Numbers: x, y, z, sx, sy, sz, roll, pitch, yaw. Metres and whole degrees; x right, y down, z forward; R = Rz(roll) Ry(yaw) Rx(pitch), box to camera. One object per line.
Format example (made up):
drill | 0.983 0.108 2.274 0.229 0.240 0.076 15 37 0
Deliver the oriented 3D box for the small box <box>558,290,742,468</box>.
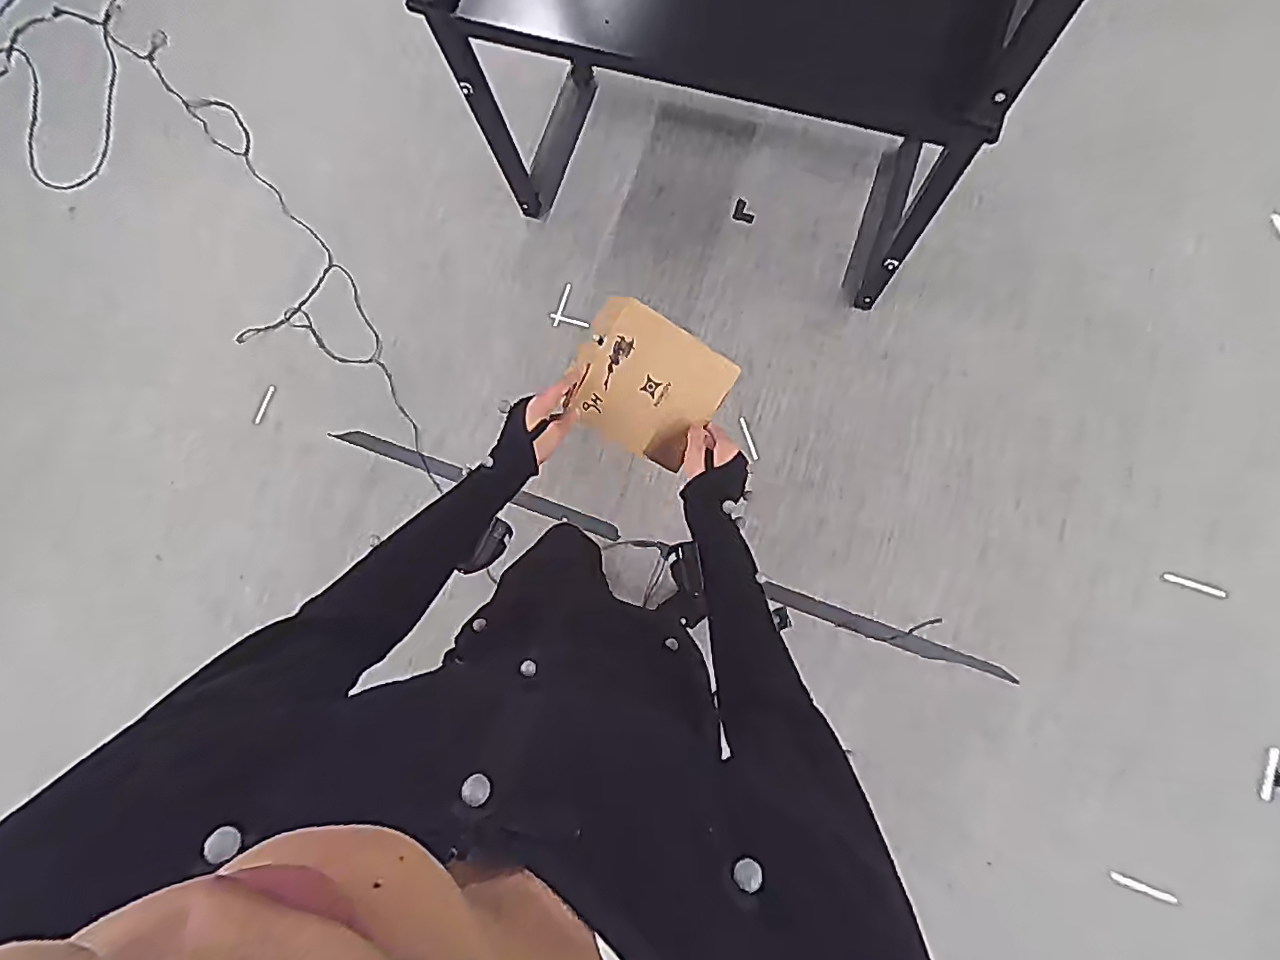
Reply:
small box | 0.003 -0.146 0.745 0.179 0.176 0.168 27 101 -20
